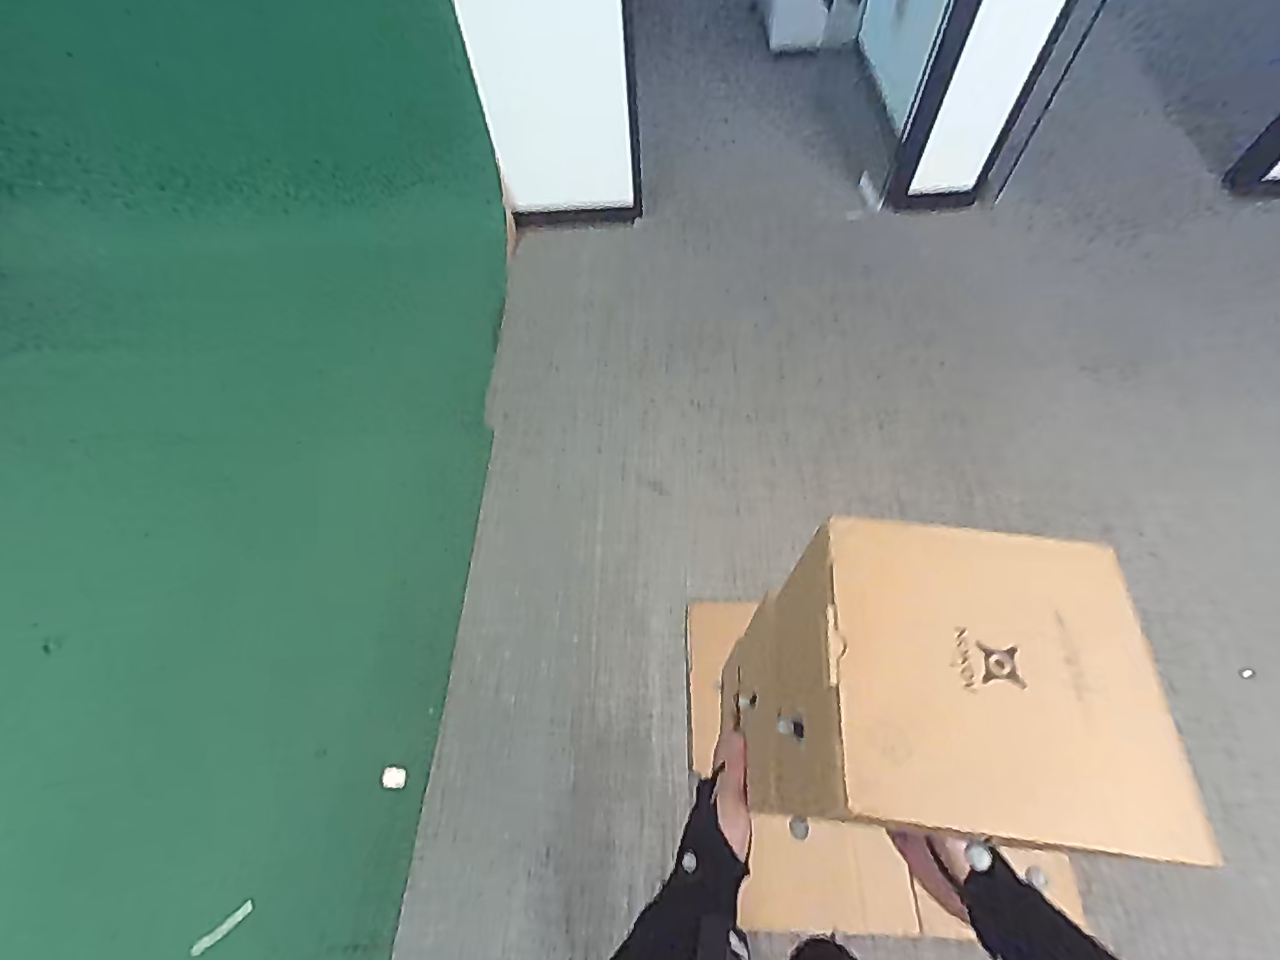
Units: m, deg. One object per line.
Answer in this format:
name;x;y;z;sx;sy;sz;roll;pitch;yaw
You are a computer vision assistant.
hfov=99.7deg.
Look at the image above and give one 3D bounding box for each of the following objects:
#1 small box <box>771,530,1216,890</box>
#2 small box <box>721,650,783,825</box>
small box;0.188;0.151;0.360;0.179;0.176;0.168;7;58;5
small box;0.192;0.315;0.644;0.179;0.176;0.168;5;58;4
